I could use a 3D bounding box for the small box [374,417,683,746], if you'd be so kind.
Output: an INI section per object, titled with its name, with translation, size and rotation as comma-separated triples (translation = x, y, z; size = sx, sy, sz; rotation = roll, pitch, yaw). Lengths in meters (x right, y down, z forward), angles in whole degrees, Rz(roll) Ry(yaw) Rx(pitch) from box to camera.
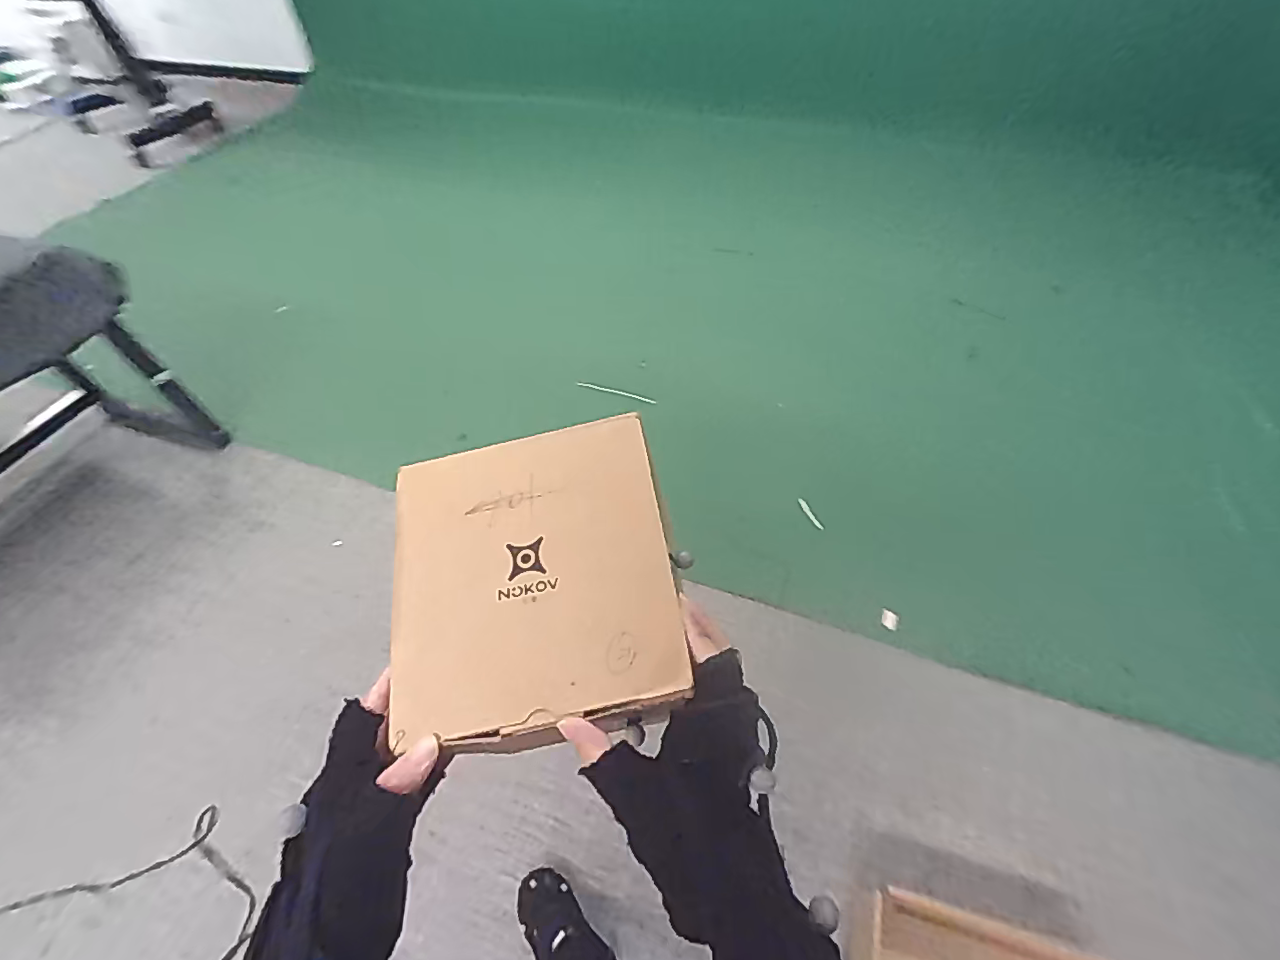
[small box]
translation = -0.069, 0.085, 0.399
size = 0.168, 0.176, 0.179
rotation = -14, 62, 2
